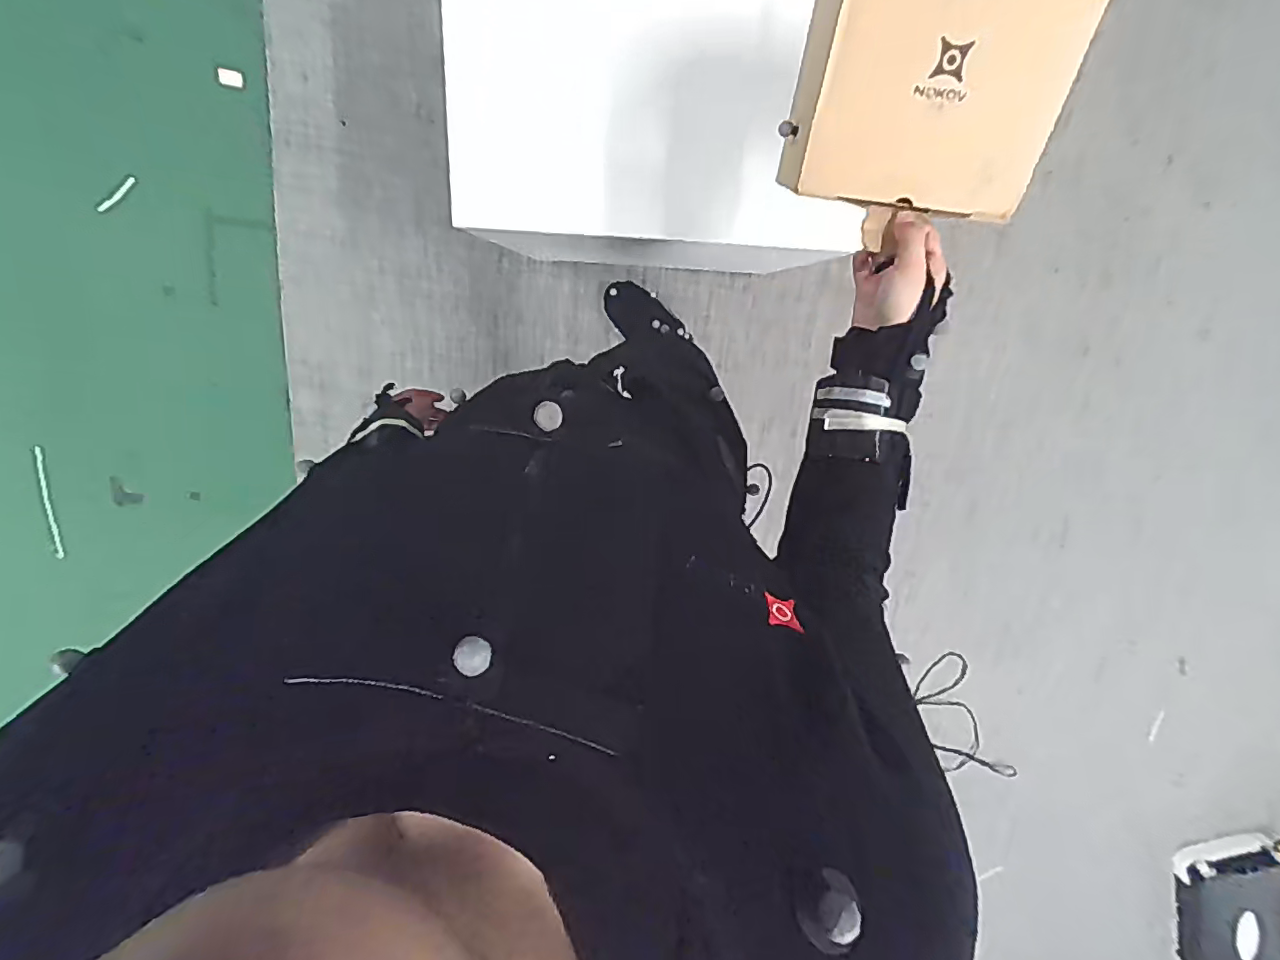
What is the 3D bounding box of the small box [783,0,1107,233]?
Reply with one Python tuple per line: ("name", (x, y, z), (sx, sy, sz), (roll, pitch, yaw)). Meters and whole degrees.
("small box", (0.220, -0.315, 0.442), (0.168, 0.176, 0.179), (8, 120, 2))
